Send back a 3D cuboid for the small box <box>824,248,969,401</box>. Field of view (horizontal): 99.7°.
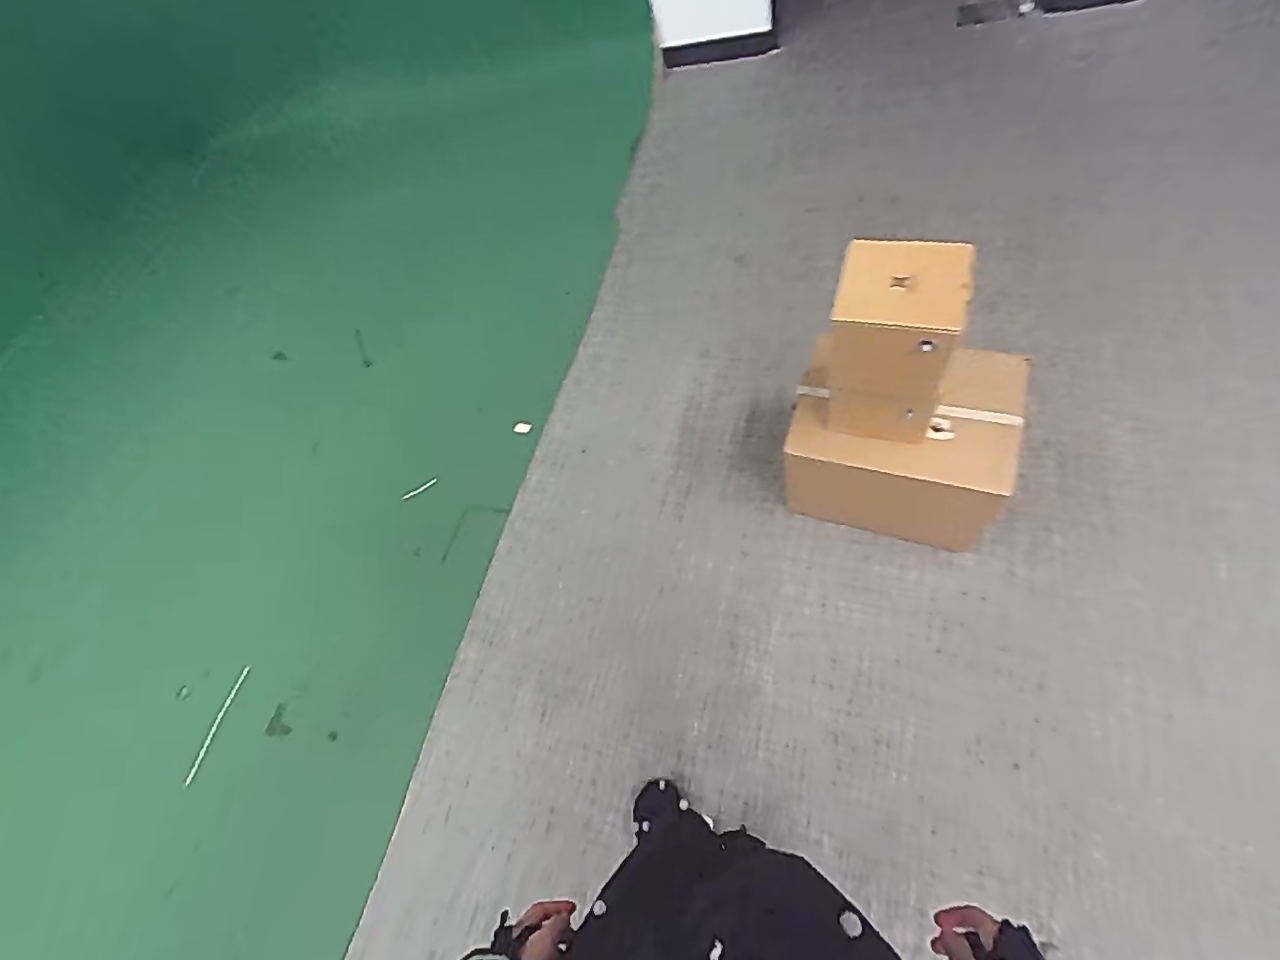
[{"bbox_3d":[0.401,-0.244,0.866,0.179,0.176,0.168,11,67,20],"label":"small box"}]

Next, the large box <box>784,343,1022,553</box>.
[{"bbox_3d":[0.553,-0.068,1.205,0.408,0.320,0.320,13,69,20],"label":"large box"}]
